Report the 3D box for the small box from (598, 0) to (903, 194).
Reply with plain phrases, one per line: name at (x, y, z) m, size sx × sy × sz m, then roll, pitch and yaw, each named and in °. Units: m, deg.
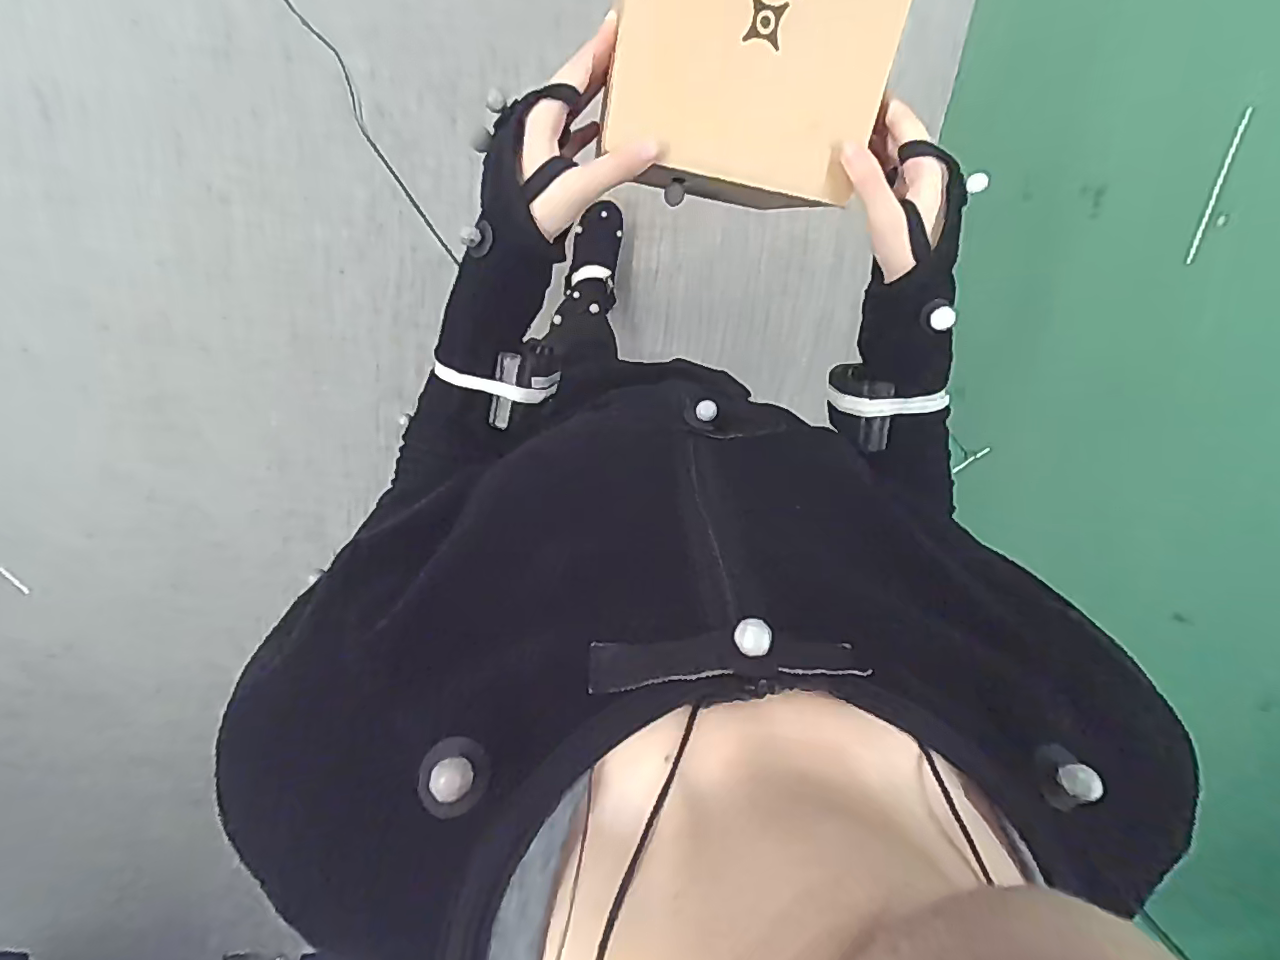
small box at (0.063, -0.313, 0.378) m, size 0.168 × 0.176 × 0.179 m, roll 7°, pitch 113°, yaw -10°
